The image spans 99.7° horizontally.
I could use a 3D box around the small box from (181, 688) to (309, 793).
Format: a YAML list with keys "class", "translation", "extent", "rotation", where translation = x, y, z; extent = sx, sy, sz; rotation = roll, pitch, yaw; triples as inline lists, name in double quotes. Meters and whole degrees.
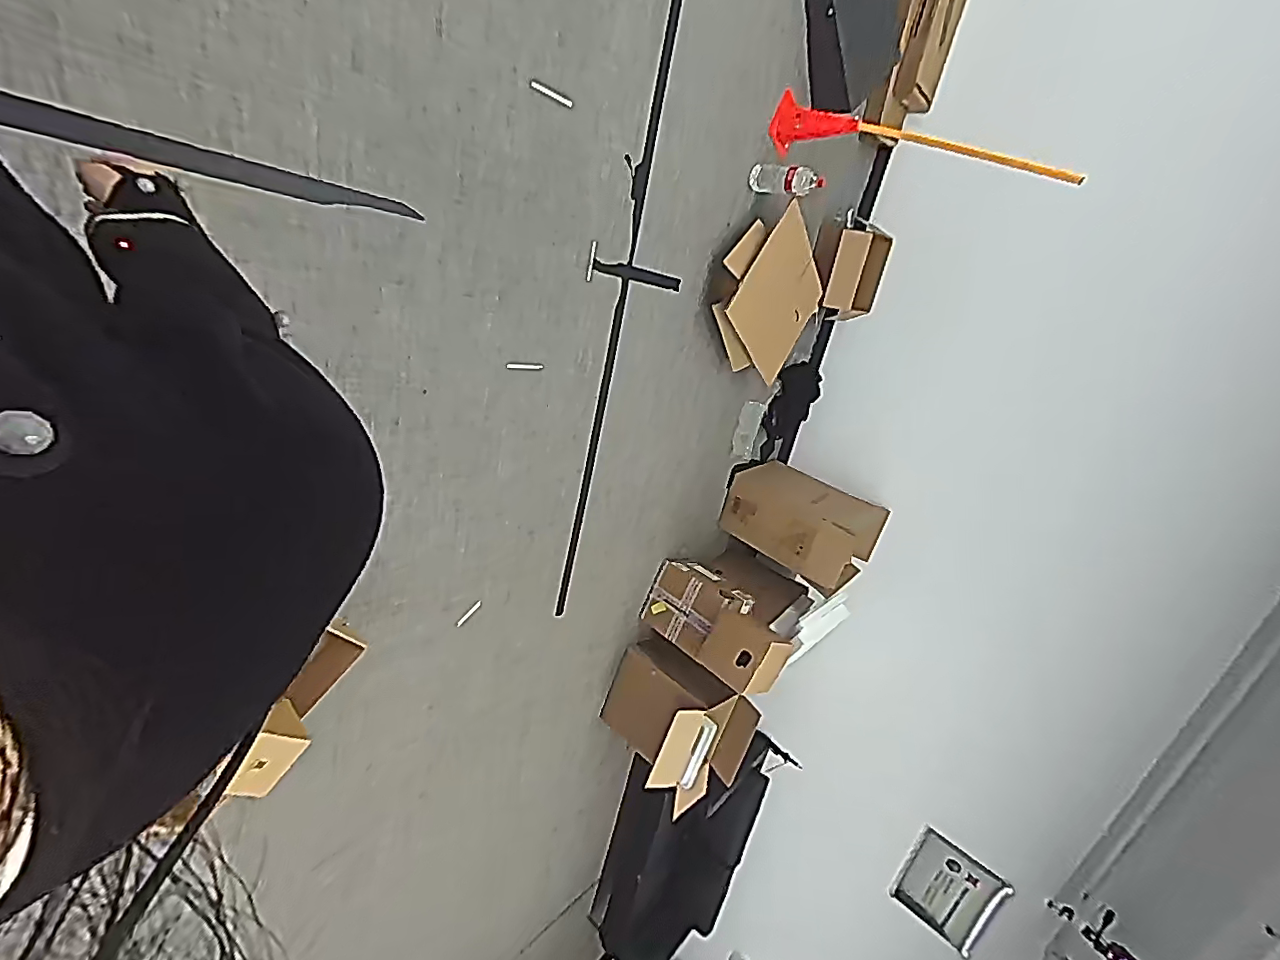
- class: "small box"
  translation: [-0.985, 0.645, 1.347]
  extent: [0.168, 0.176, 0.179]
  rotation: [-51, 146, -13]
